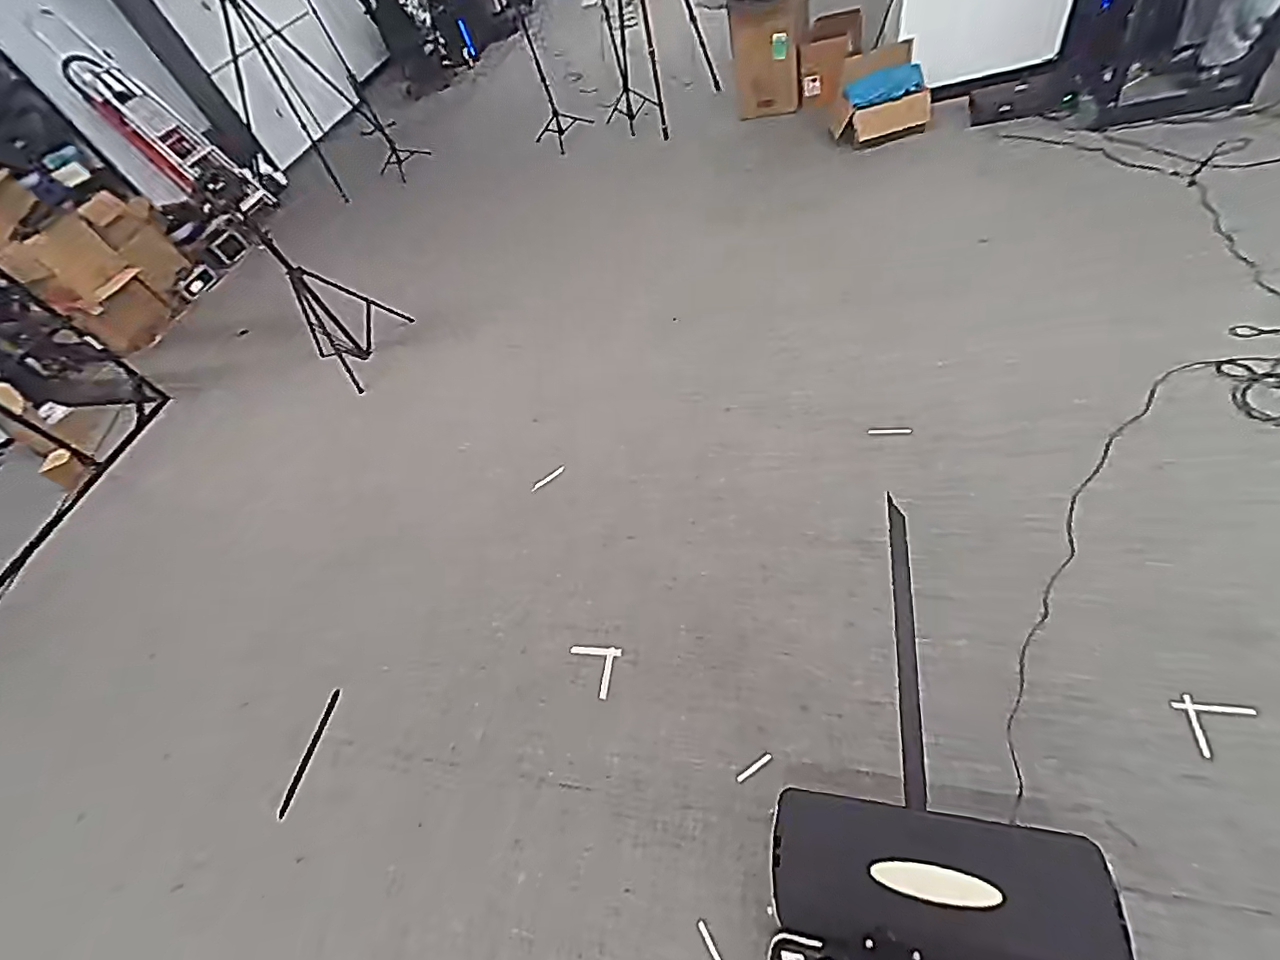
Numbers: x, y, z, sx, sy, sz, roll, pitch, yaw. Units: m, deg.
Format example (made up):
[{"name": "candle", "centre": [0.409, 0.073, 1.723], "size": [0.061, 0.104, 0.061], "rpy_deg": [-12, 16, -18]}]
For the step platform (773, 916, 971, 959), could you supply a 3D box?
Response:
[{"name": "step platform", "centre": [0.590, 1.056, 0.998], "size": [0.684, 0.204, 0.286], "rpy_deg": [-2, 53, 19]}]
